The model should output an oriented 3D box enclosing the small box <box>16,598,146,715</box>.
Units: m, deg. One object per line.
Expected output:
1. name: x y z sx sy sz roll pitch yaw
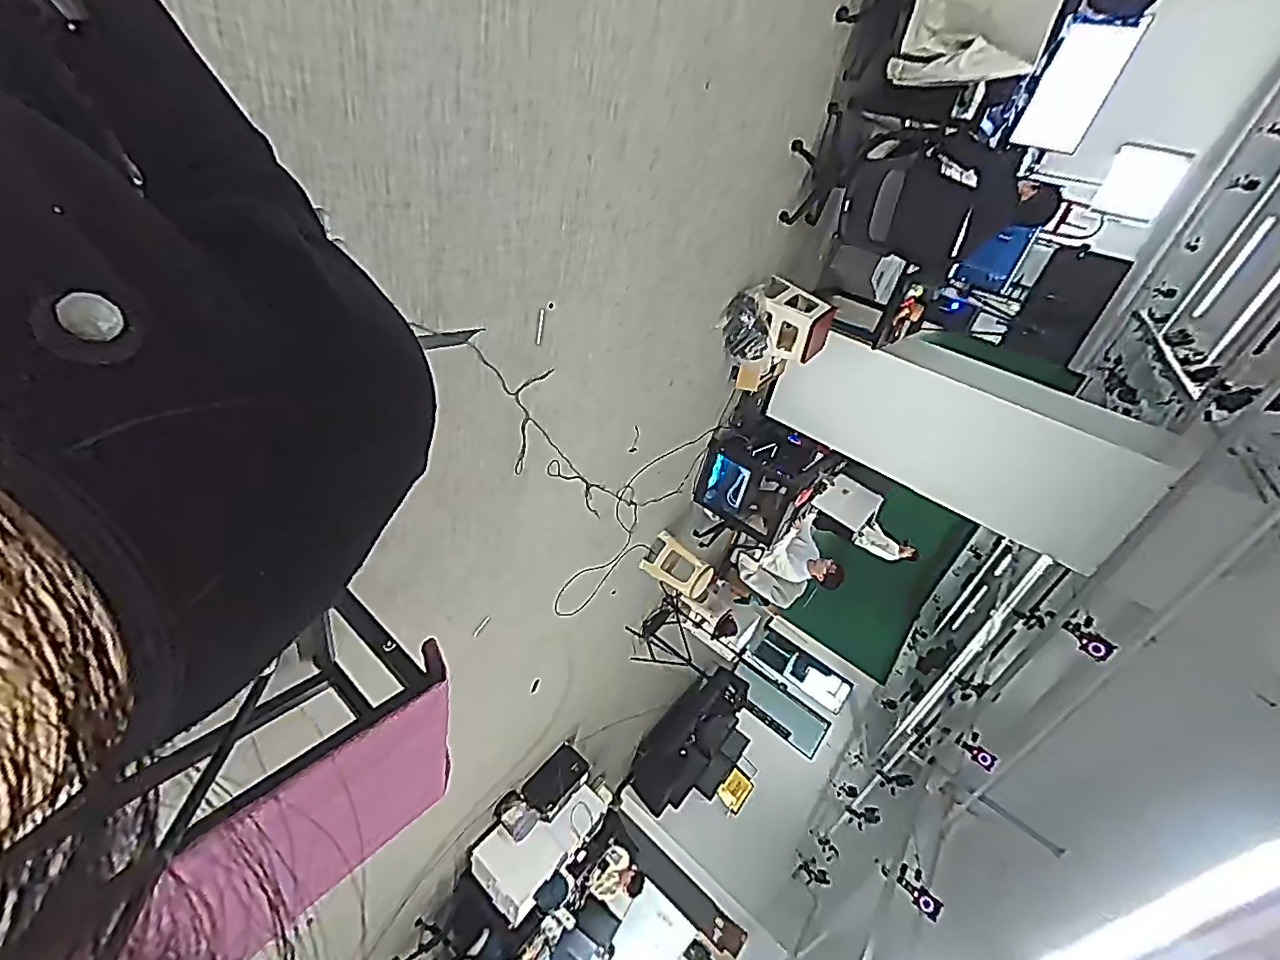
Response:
1. small box: -1.364 0.425 1.324 0.168 0.176 0.179 -28 141 -46
